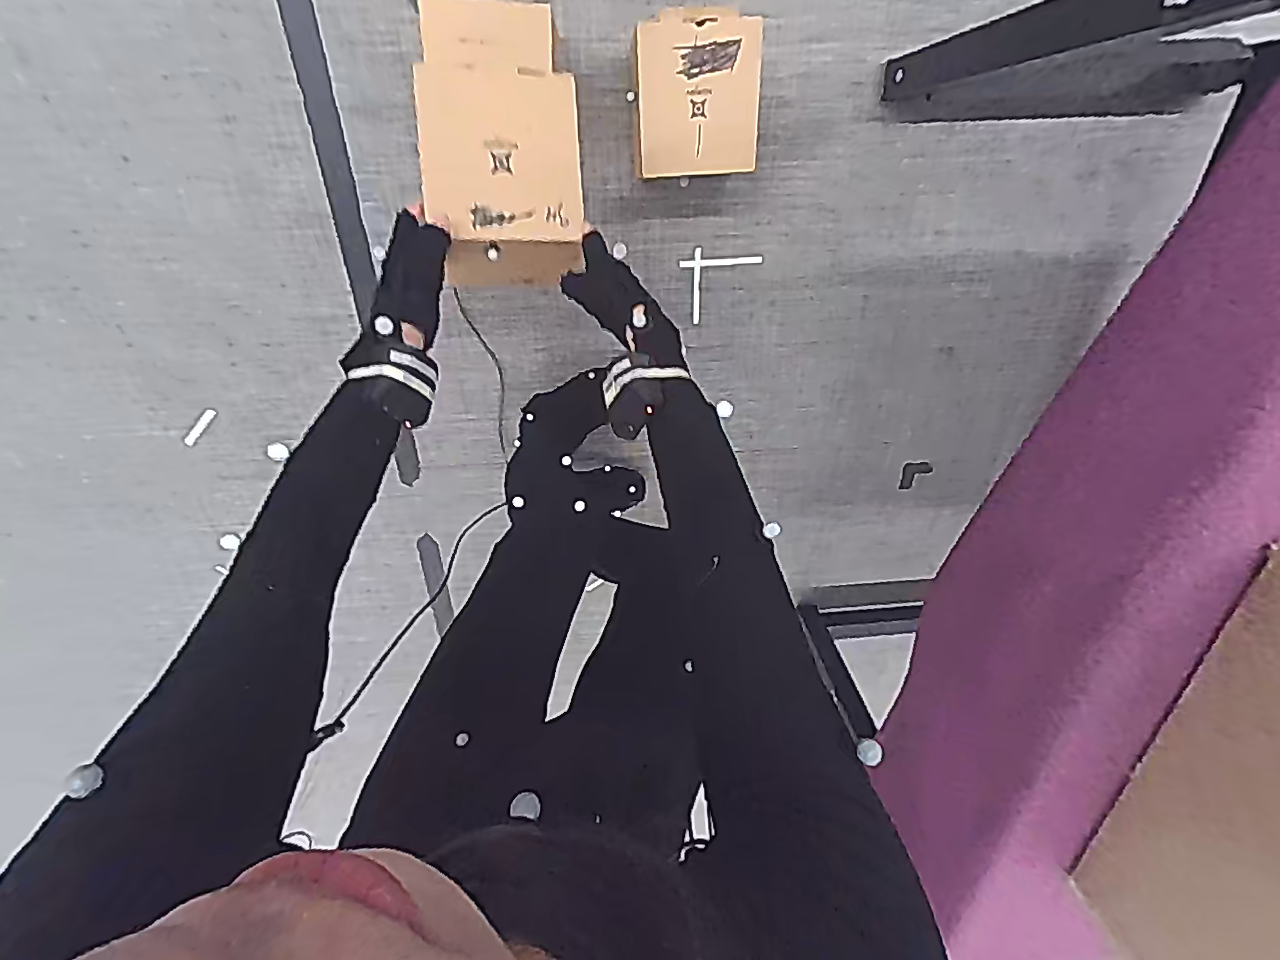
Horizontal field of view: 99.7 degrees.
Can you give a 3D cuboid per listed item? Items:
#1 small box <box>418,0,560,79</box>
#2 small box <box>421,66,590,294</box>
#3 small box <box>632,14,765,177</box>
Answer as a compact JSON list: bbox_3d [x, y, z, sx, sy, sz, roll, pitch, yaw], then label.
[{"bbox_3d":[-0.201,-0.557,0.774,0.168,0.176,0.179,1,118,-6],"label":"small box"},{"bbox_3d":[-0.153,-0.335,0.638,0.168,0.176,0.179,-4,93,-11],"label":"small box"},{"bbox_3d":[0.077,-0.550,0.796,0.168,0.176,0.179,-4,120,-2],"label":"small box"}]
